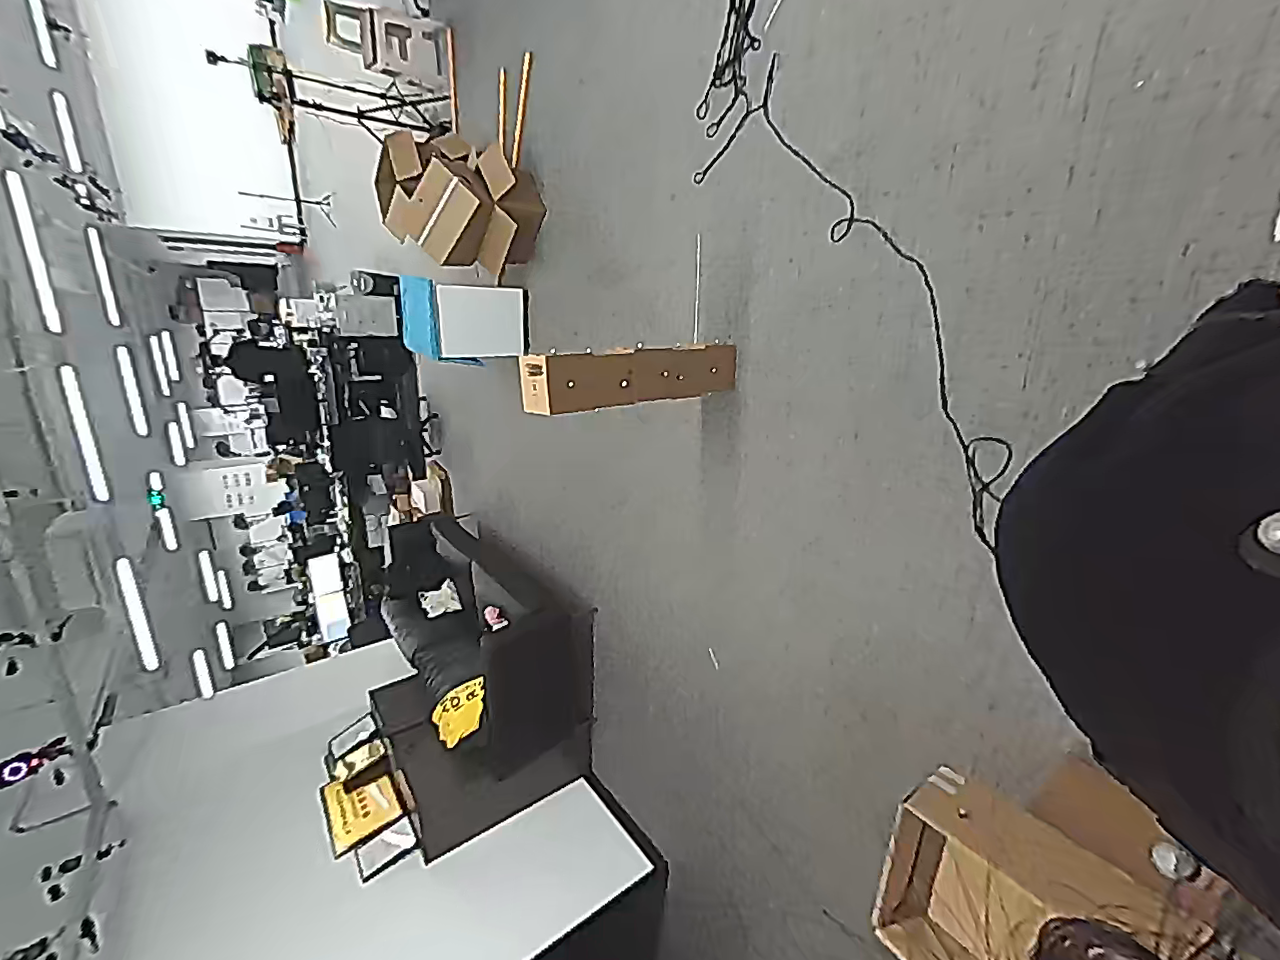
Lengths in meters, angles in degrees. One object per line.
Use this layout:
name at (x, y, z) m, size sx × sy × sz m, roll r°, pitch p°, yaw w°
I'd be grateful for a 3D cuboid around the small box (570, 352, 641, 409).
small box at (-0.114, -0.330, 1.774) m, size 0.179 × 0.176 × 0.168 m, roll 17°, pitch 114°, yaw 50°

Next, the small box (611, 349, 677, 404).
small box at (0.014, -0.363, 1.869) m, size 0.168 × 0.176 × 0.179 m, roll 18°, pitch 113°, yaw 51°

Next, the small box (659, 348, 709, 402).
small box at (0.137, -0.388, 1.975) m, size 0.168 × 0.176 × 0.179 m, roll 20°, pitch 115°, yaw 49°

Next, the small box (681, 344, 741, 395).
small box at (0.268, -0.425, 2.066) m, size 0.168 × 0.176 × 0.179 m, roll 20°, pitch 115°, yaw 51°
